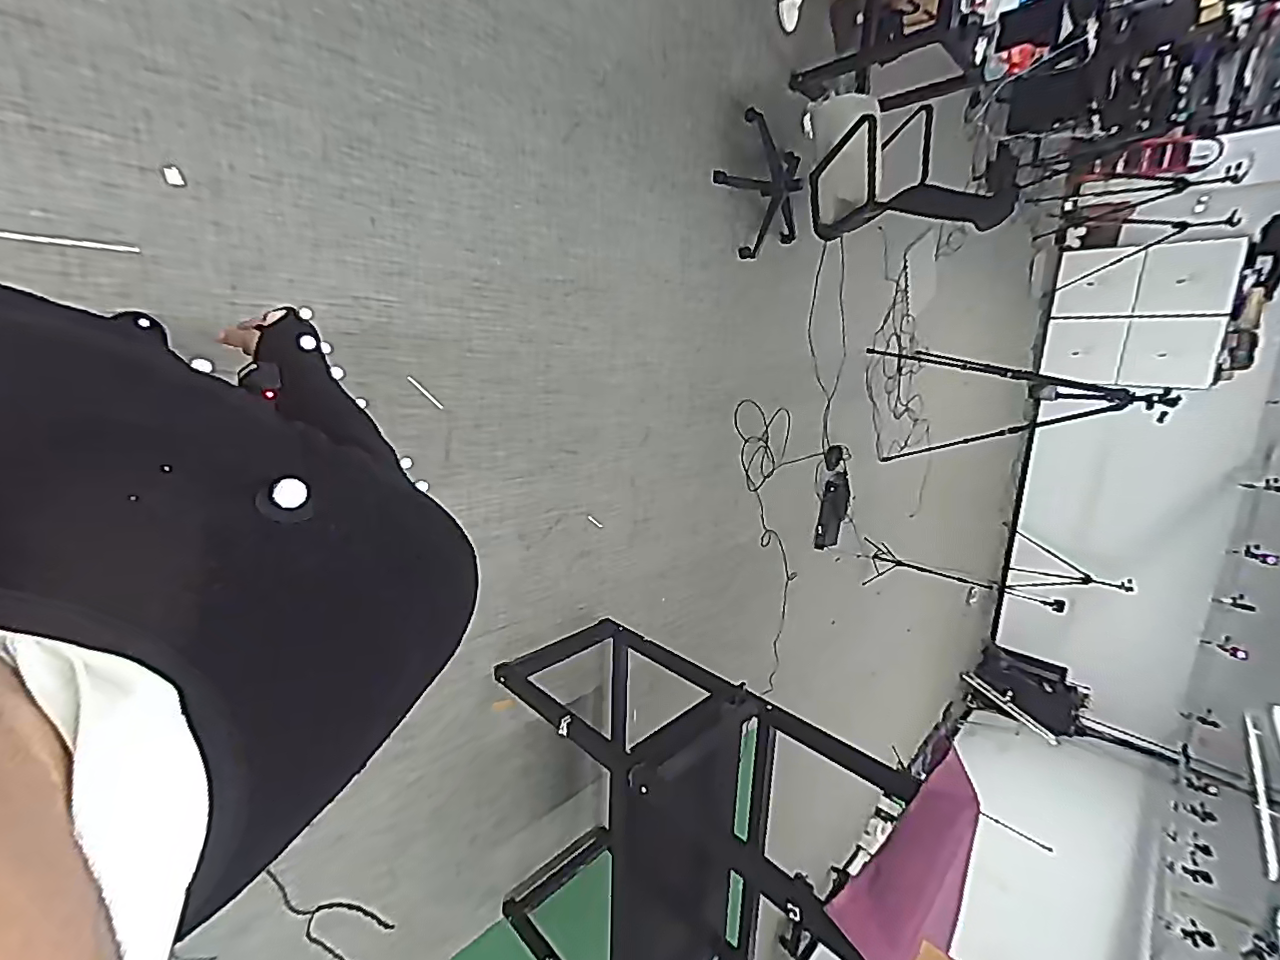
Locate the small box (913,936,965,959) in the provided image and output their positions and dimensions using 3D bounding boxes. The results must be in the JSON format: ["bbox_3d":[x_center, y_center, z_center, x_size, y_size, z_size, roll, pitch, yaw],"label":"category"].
[{"bbox_3d":[0.627,1.101,1.096,0.179,0.176,0.168,-7,105,-46],"label":"small box"}]
